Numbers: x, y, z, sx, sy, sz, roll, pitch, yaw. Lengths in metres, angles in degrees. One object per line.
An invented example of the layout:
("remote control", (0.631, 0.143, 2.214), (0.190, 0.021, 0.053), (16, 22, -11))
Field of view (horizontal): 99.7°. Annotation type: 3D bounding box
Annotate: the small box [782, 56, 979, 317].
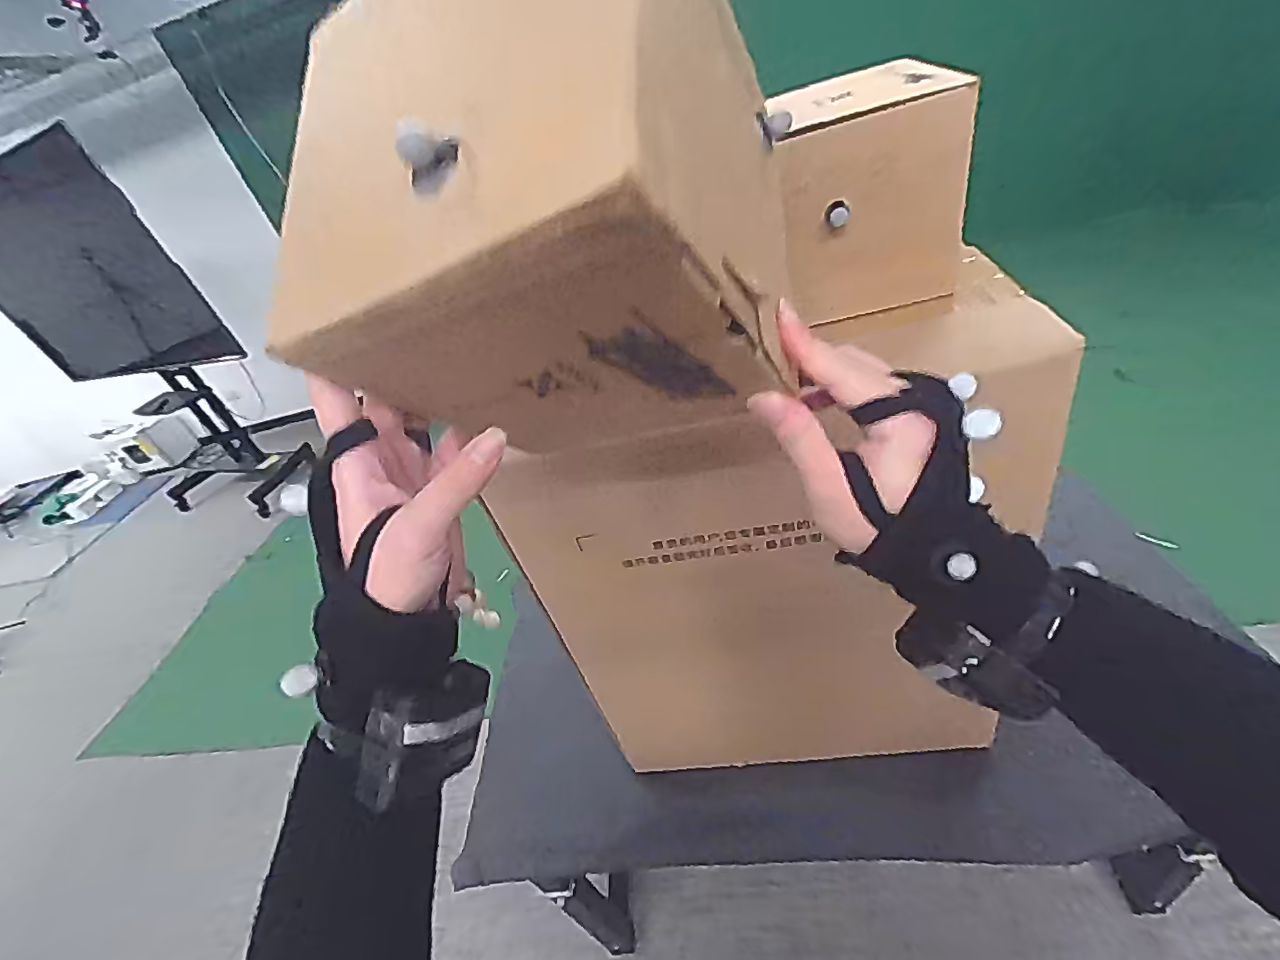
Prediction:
("small box", (0.189, -0.272, 0.518), (0.179, 0.176, 0.168), (-11, 40, 11))
